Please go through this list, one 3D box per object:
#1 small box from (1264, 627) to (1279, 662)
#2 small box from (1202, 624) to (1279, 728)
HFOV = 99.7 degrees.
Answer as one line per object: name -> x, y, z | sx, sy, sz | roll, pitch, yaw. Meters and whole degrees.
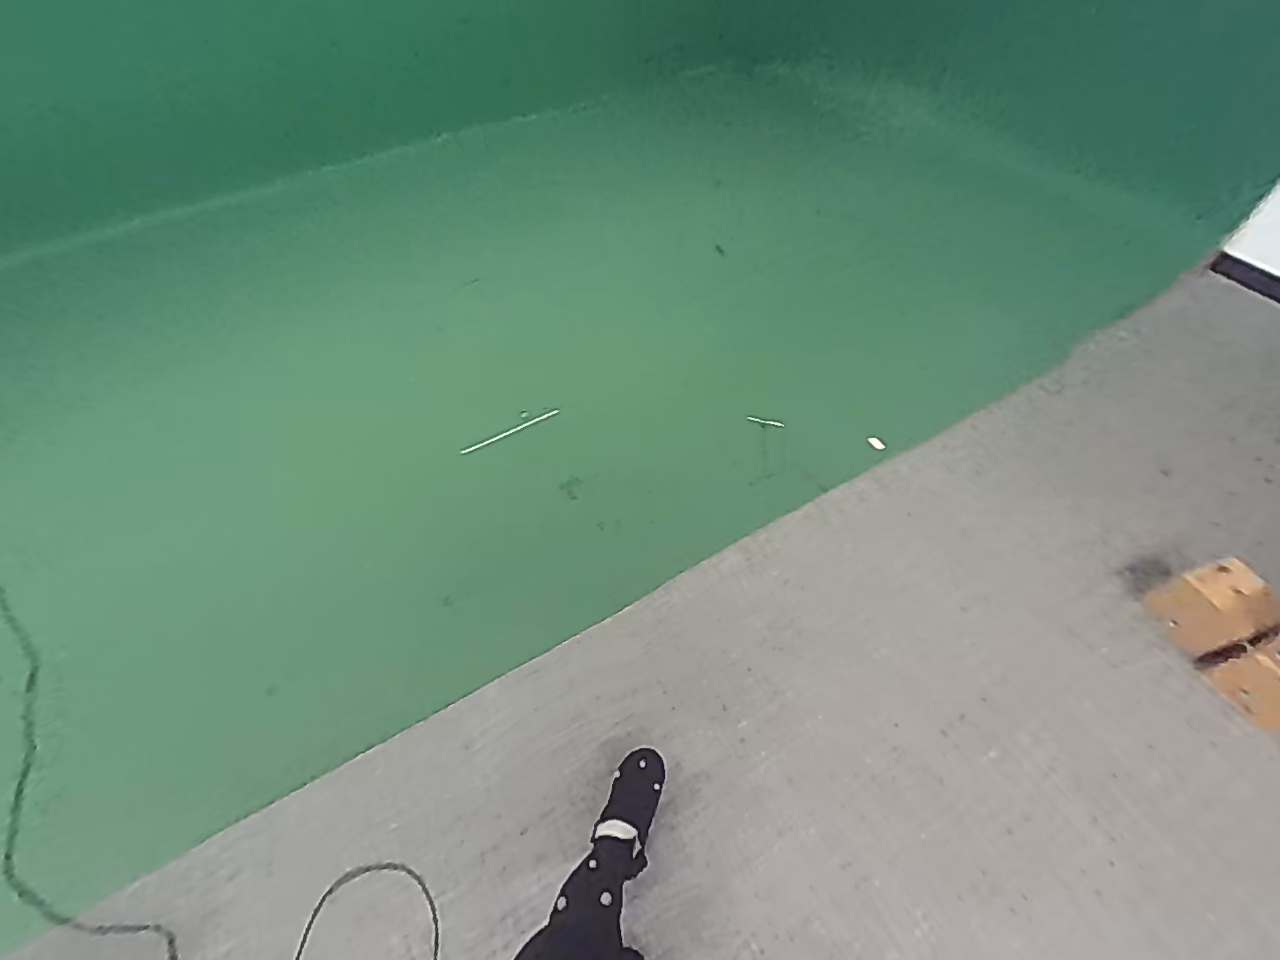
small box -> 1.528, 0.364, 1.158 | 0.179, 0.176, 0.168 | -21, 57, -11
small box -> 1.526, 0.463, 1.290 | 0.179, 0.176, 0.168 | -27, 59, -13
